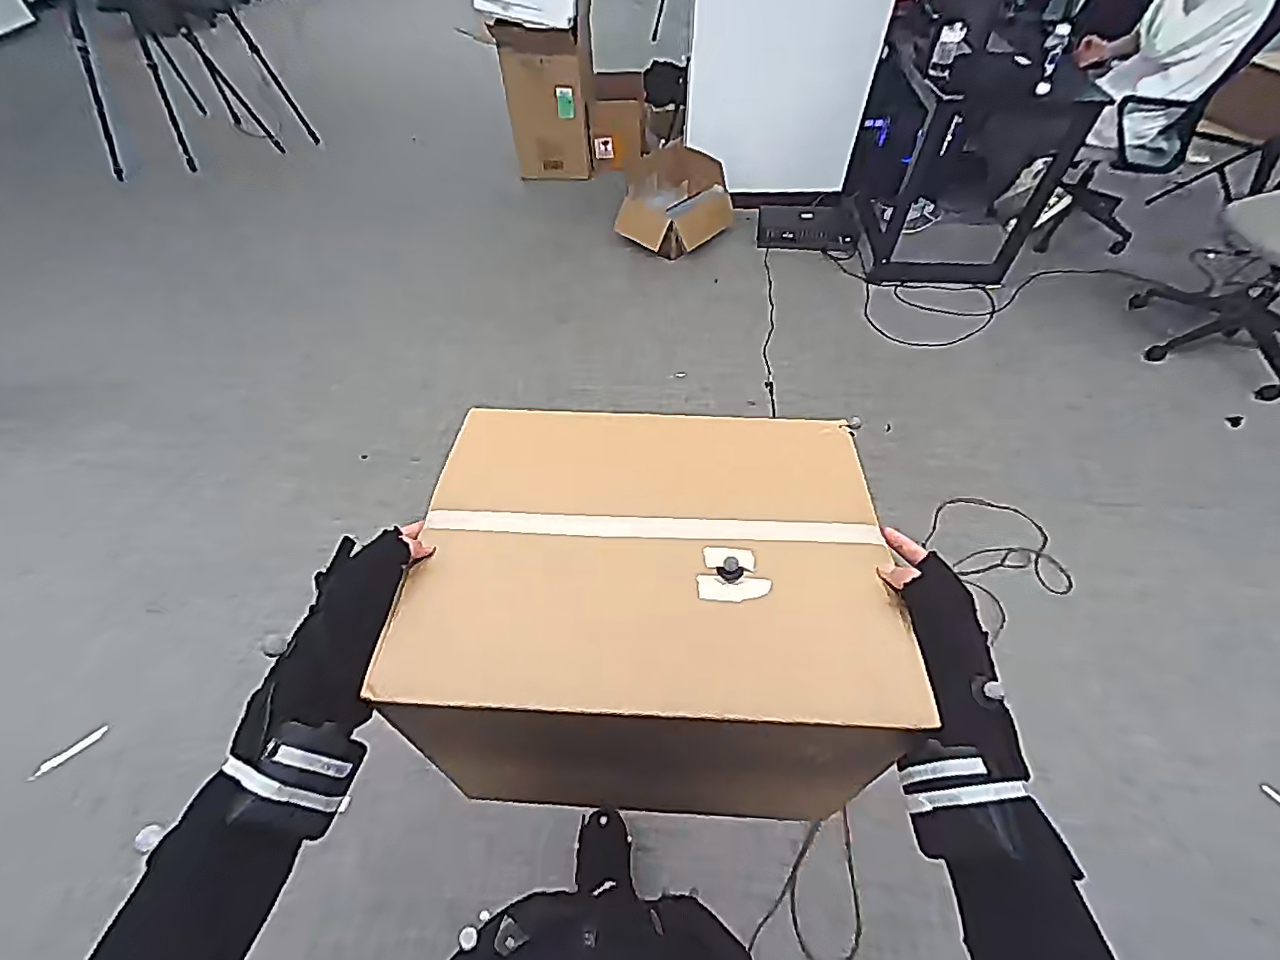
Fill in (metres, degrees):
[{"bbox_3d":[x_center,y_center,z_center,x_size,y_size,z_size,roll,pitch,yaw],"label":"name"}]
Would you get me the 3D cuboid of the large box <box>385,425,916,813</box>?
[{"bbox_3d":[0.009,0.156,0.606,0.408,0.320,0.320,2,48,2],"label":"large box"}]
